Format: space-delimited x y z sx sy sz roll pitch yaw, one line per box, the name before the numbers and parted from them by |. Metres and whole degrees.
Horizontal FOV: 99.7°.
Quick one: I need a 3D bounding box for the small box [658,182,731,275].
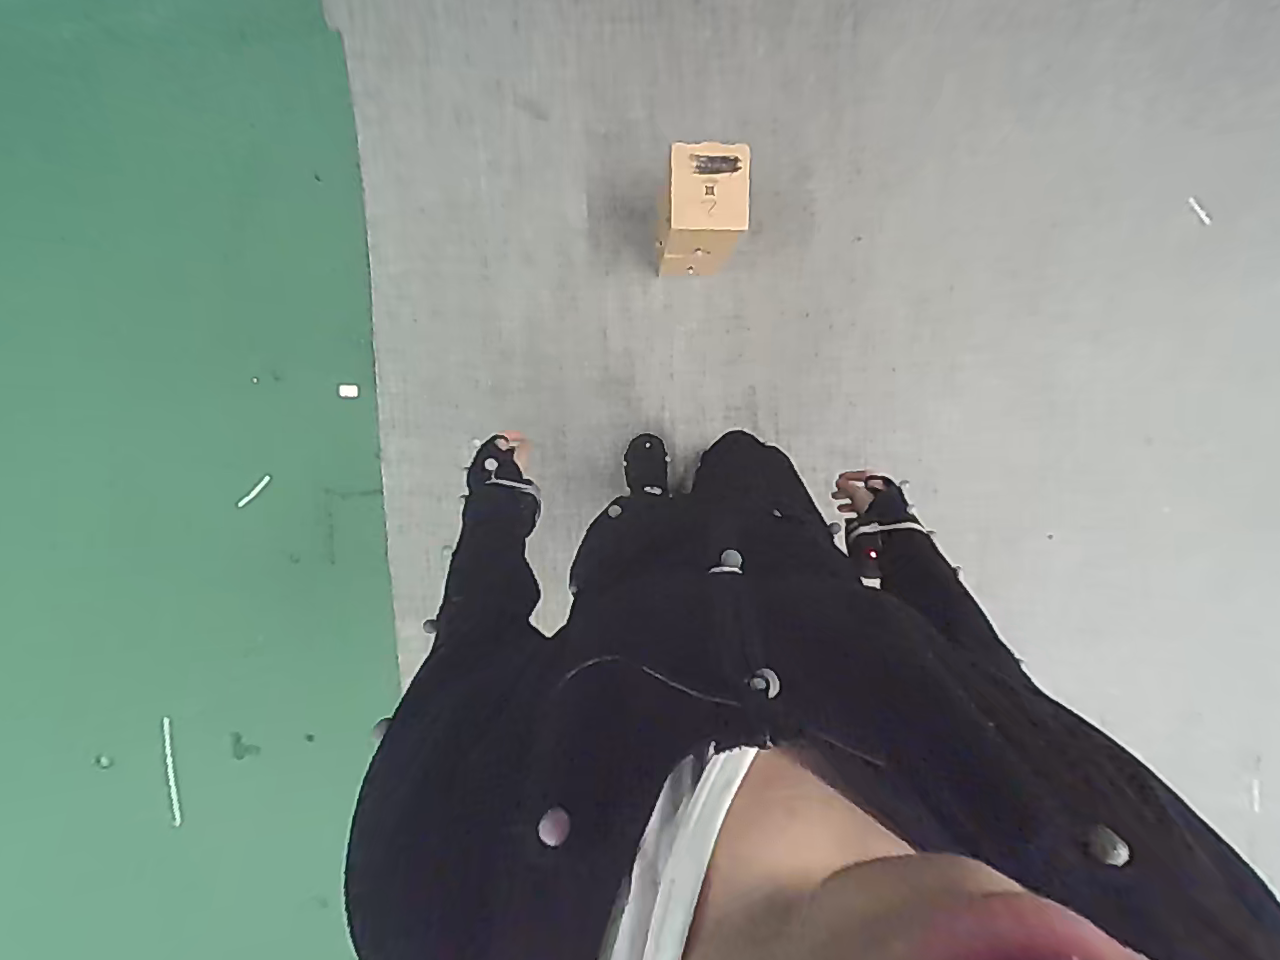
small box | 0.134 -0.628 1.369 0.168 0.176 0.179 -2 95 -2
